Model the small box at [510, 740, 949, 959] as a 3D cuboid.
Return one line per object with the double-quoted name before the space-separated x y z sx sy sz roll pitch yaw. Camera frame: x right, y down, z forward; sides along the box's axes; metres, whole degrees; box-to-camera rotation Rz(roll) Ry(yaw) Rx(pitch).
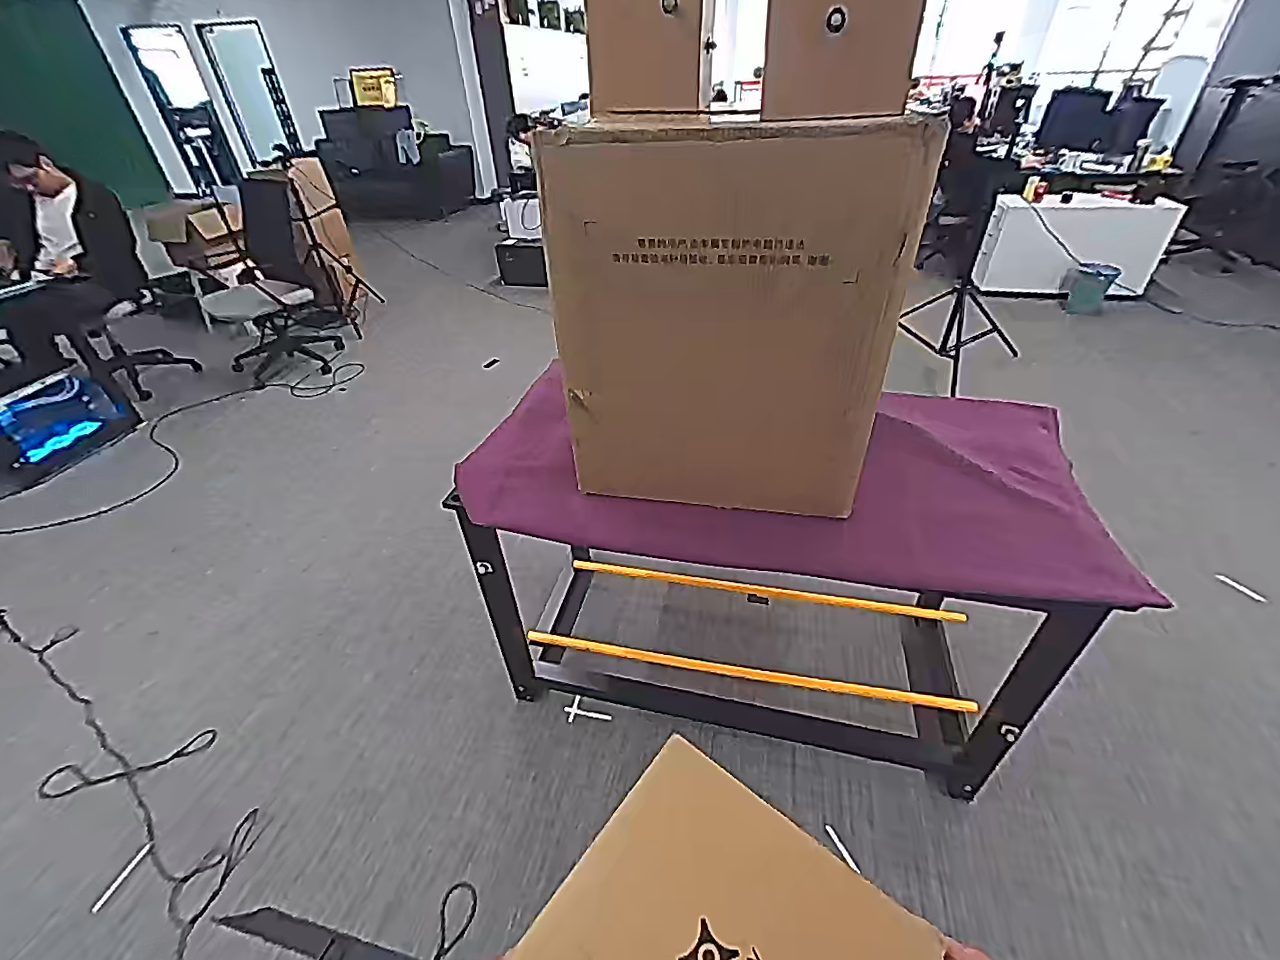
"small box" 0.046 0.309 0.328 0.179 0.176 0.168 26 50 30
